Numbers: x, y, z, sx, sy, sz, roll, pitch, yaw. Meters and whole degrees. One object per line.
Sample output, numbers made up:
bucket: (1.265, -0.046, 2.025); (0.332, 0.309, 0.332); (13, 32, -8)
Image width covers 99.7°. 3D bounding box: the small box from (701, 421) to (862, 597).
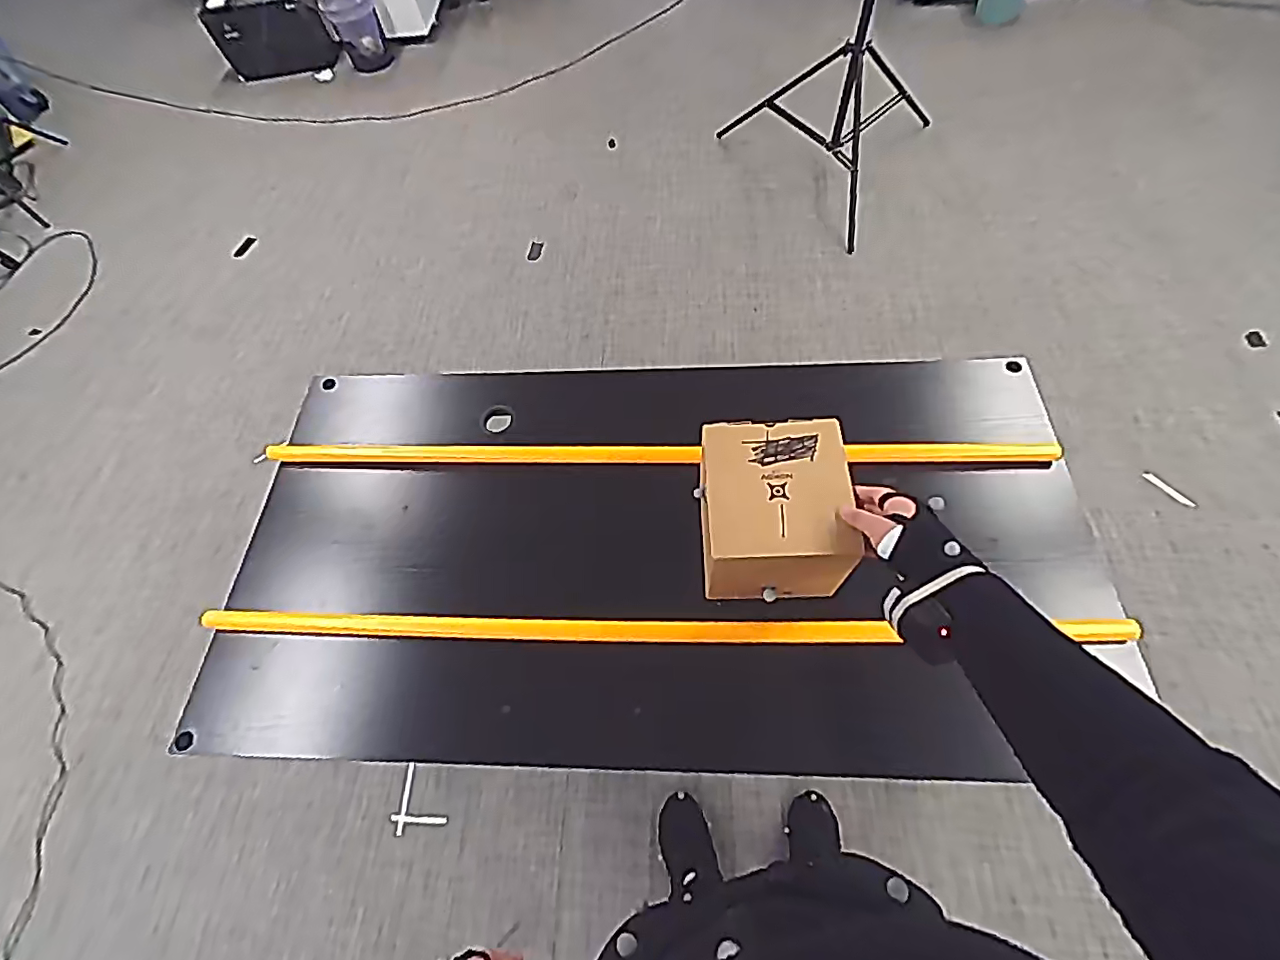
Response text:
small box: (0.166, 0.043, 0.698); (0.168, 0.176, 0.179); (-2, 62, 4)
